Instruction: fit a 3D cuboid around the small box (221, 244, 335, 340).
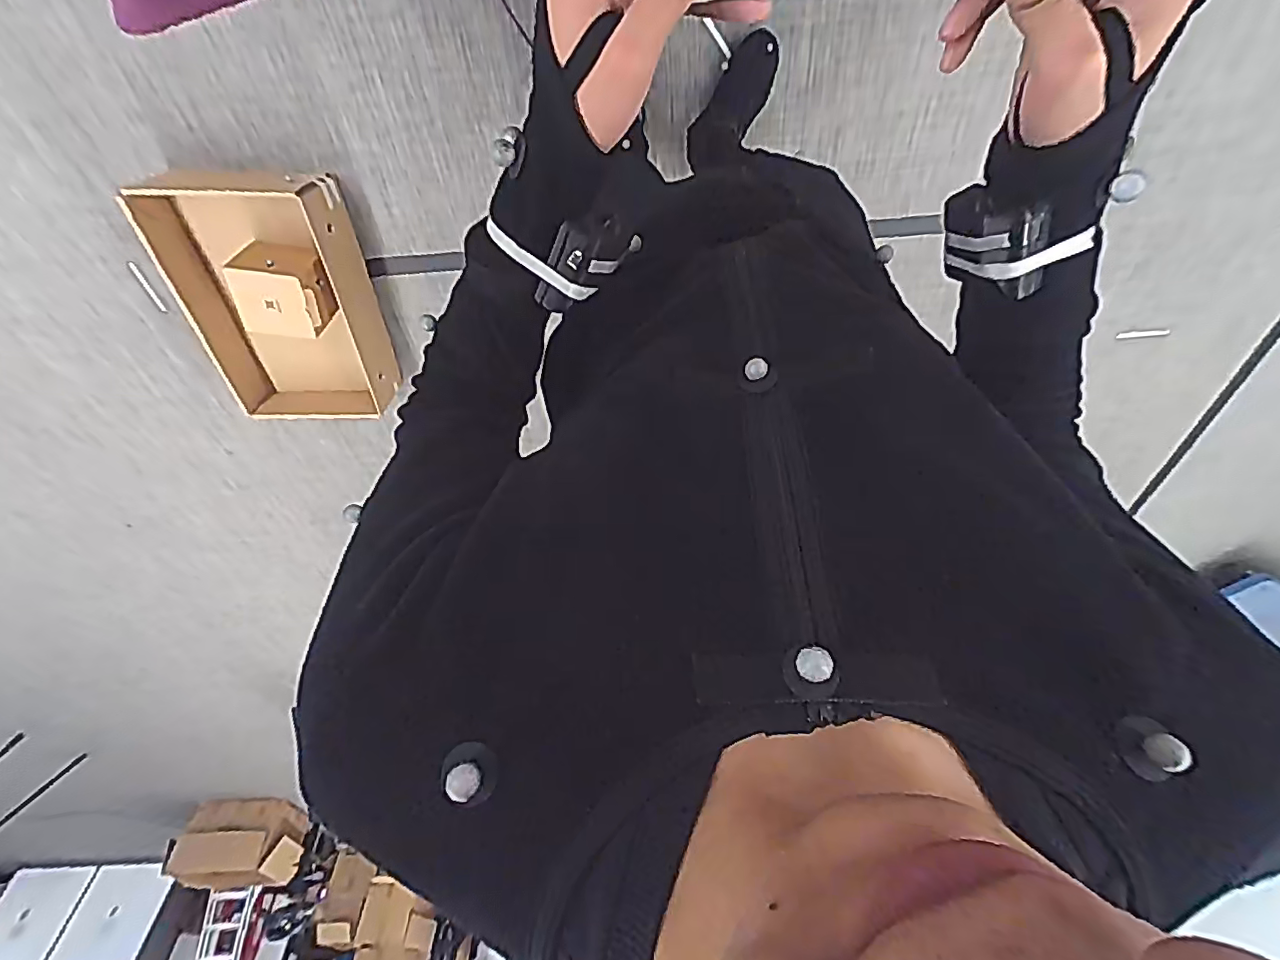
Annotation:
[{"bbox_3d":[-0.902,-0.480,1.373,0.179,0.176,0.168,6,134,-8],"label":"small box"}]
